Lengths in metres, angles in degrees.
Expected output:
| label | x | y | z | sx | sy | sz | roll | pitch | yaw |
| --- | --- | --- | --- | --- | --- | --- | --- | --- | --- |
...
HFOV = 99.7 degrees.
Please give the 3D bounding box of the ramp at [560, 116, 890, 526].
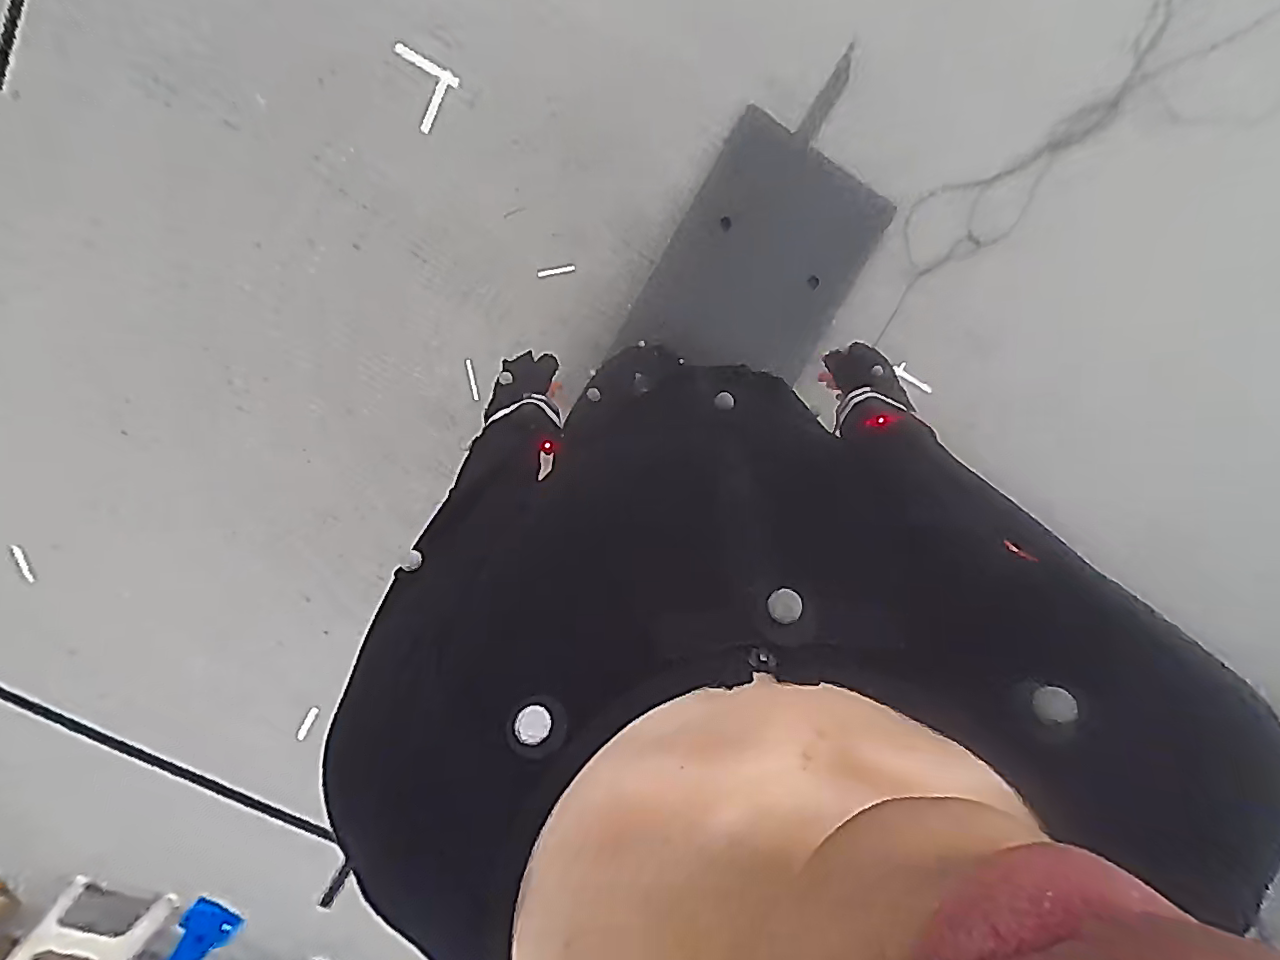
| label | x | y | z | sx | sy | sz | roll | pitch | yaw |
| --- | --- | --- | --- | --- | --- | --- | --- | --- | --- |
| ramp | 0.231 | -0.416 | 1.467 | 0.509 | 0.206 | 0.991 | 28 | 102 | -6 |
